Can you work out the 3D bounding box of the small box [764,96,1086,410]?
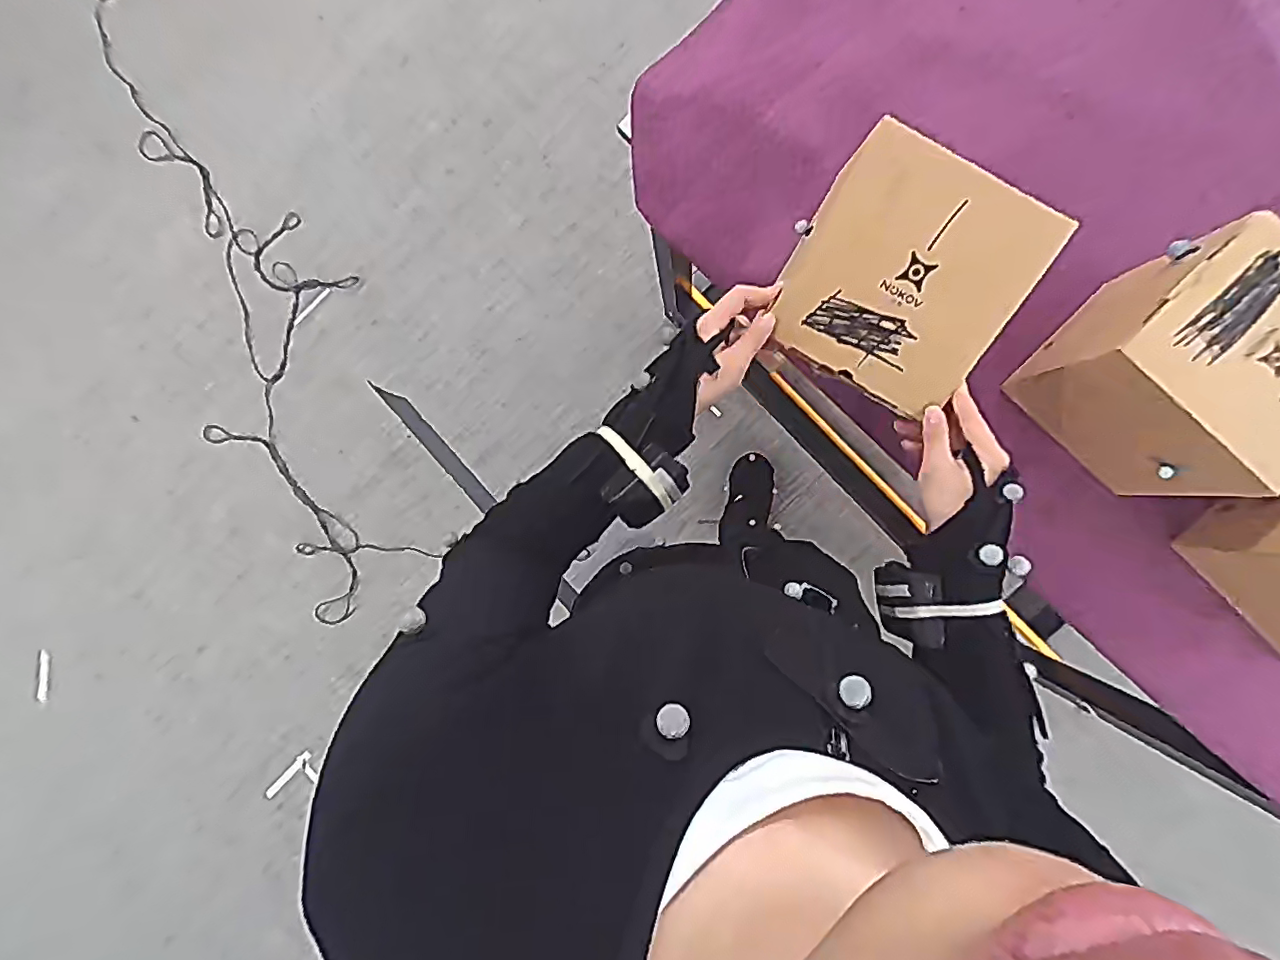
[{"bbox_3d":[0.227,-0.189,0.492,0.168,0.176,0.179,30,108,-1],"label":"small box"}]
